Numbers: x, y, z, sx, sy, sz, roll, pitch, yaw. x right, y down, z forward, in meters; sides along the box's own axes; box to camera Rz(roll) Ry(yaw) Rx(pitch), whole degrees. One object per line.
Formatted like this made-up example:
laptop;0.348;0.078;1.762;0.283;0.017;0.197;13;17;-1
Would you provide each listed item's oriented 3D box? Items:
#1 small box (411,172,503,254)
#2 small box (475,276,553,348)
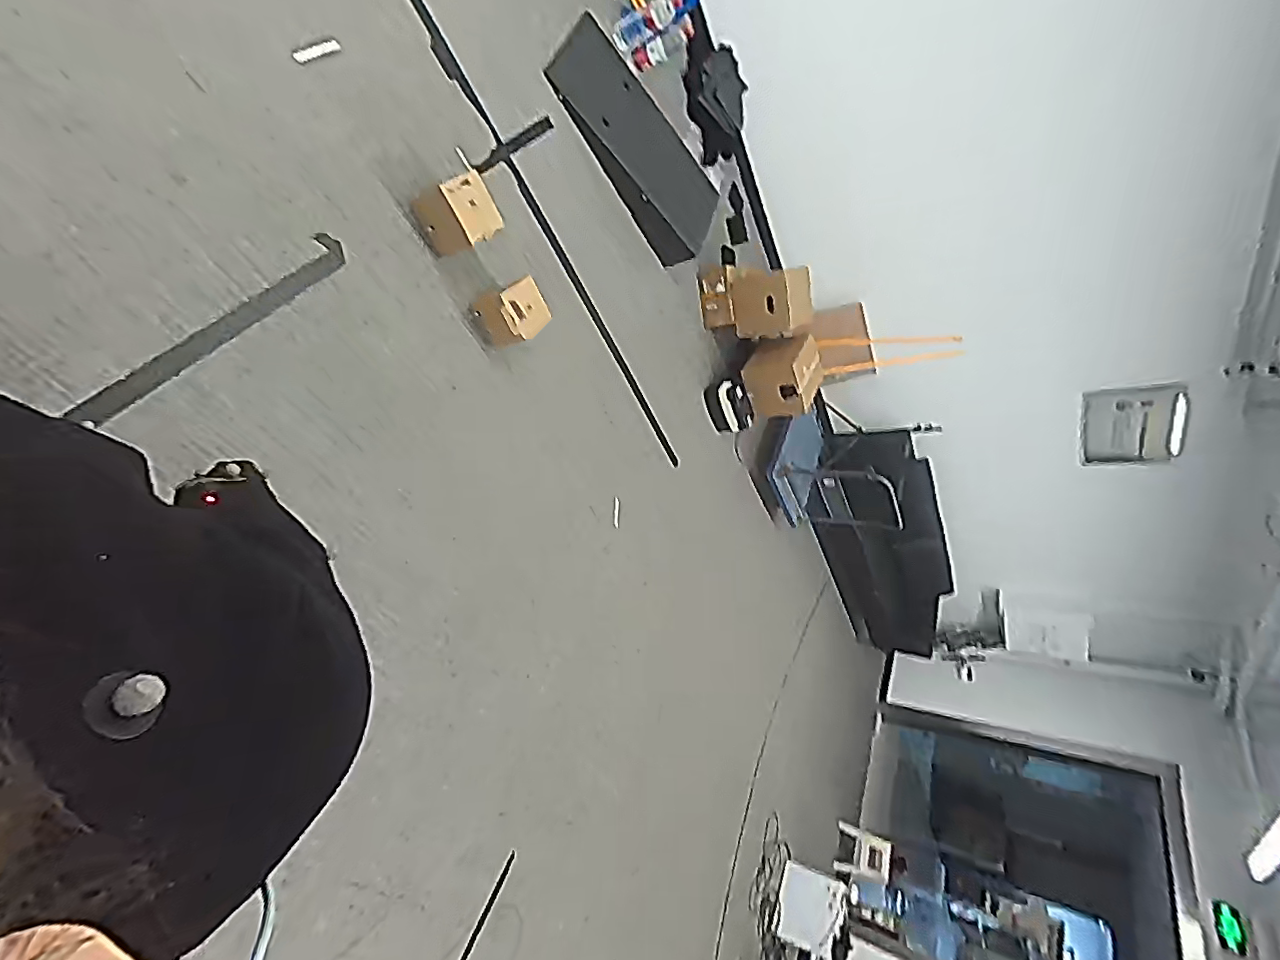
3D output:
small box;-0.572;-0.826;1.690;0.168;0.176;0.179;-56;132;-38
small box;-0.442;-0.575;1.864;0.179;0.176;0.168;-55;131;-39
